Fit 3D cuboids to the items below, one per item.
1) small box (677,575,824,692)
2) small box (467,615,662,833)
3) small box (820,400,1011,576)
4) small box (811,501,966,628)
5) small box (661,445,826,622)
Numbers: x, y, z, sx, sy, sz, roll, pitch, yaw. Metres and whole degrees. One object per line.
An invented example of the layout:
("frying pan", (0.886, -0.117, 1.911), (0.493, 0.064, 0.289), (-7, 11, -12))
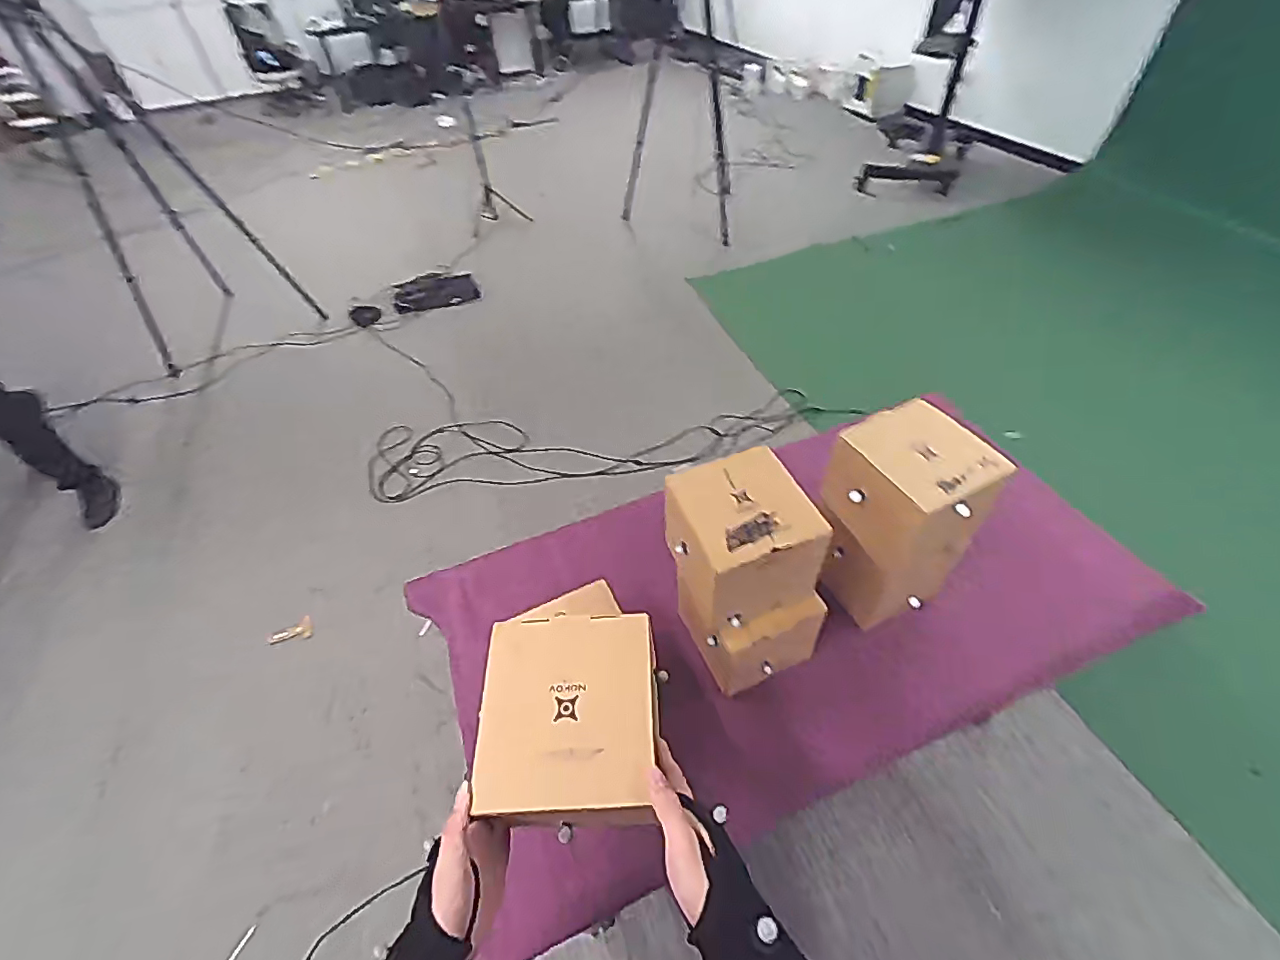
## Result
("small box", (0.167, 0.212, 0.887), (0.168, 0.176, 0.179), (-21, 50, -14))
("small box", (-0.063, 0.259, 0.569), (0.168, 0.176, 0.179), (-3, 53, 2))
("small box", (0.401, 0.012, 0.824), (0.168, 0.176, 0.179), (-23, 49, -15))
("small box", (0.410, 0.123, 0.944), (0.168, 0.176, 0.179), (-22, 50, -15))
("small box", (0.139, 0.083, 0.783), (0.168, 0.176, 0.179), (-17, 49, -11))
